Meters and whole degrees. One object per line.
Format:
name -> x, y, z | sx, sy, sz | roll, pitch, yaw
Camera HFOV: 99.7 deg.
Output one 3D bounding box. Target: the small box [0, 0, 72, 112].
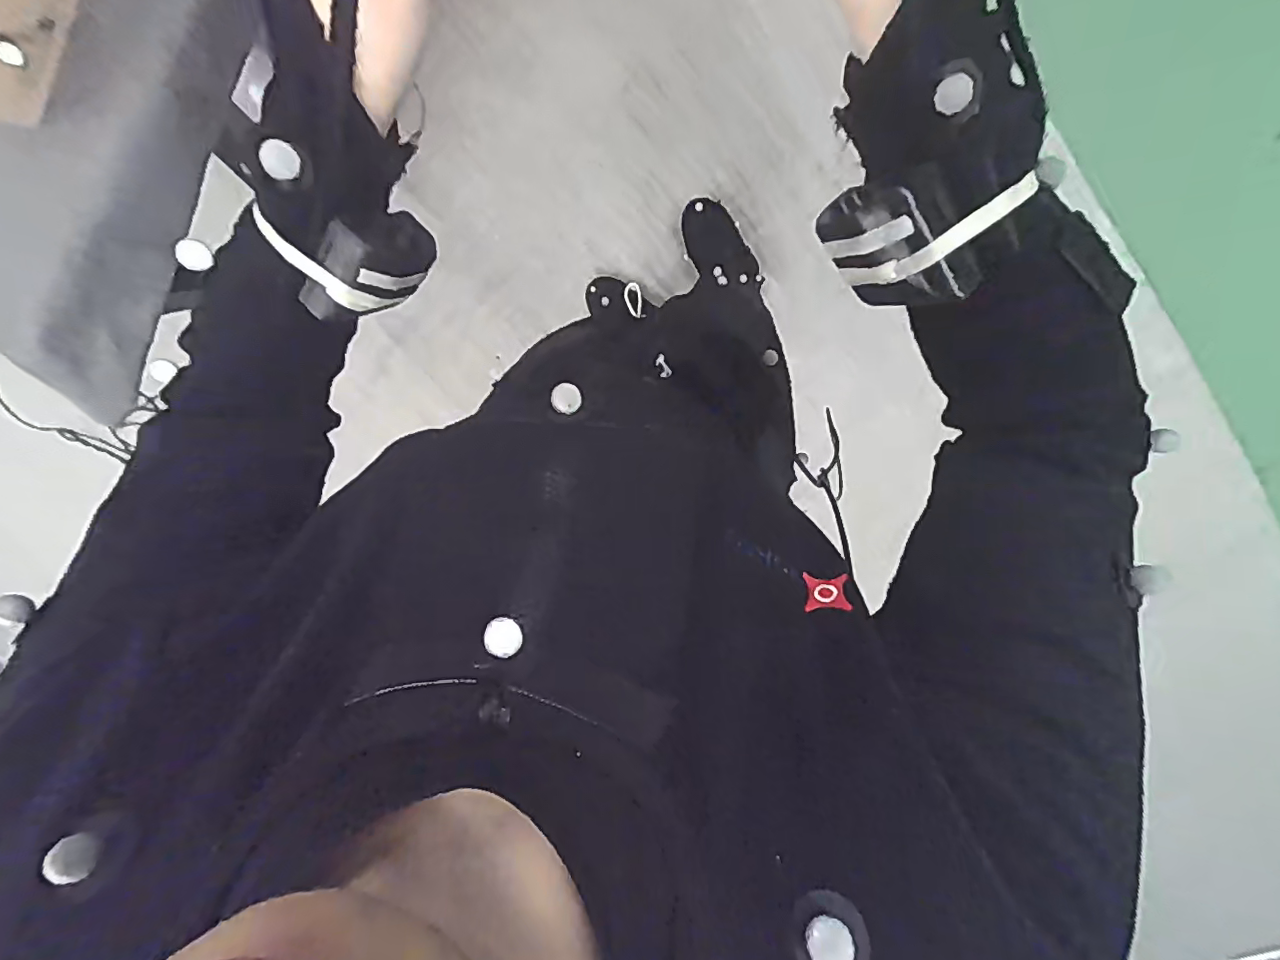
small box -> -0.600, -0.410, 0.396 | 0.179, 0.176, 0.168 | 43, 114, -16
